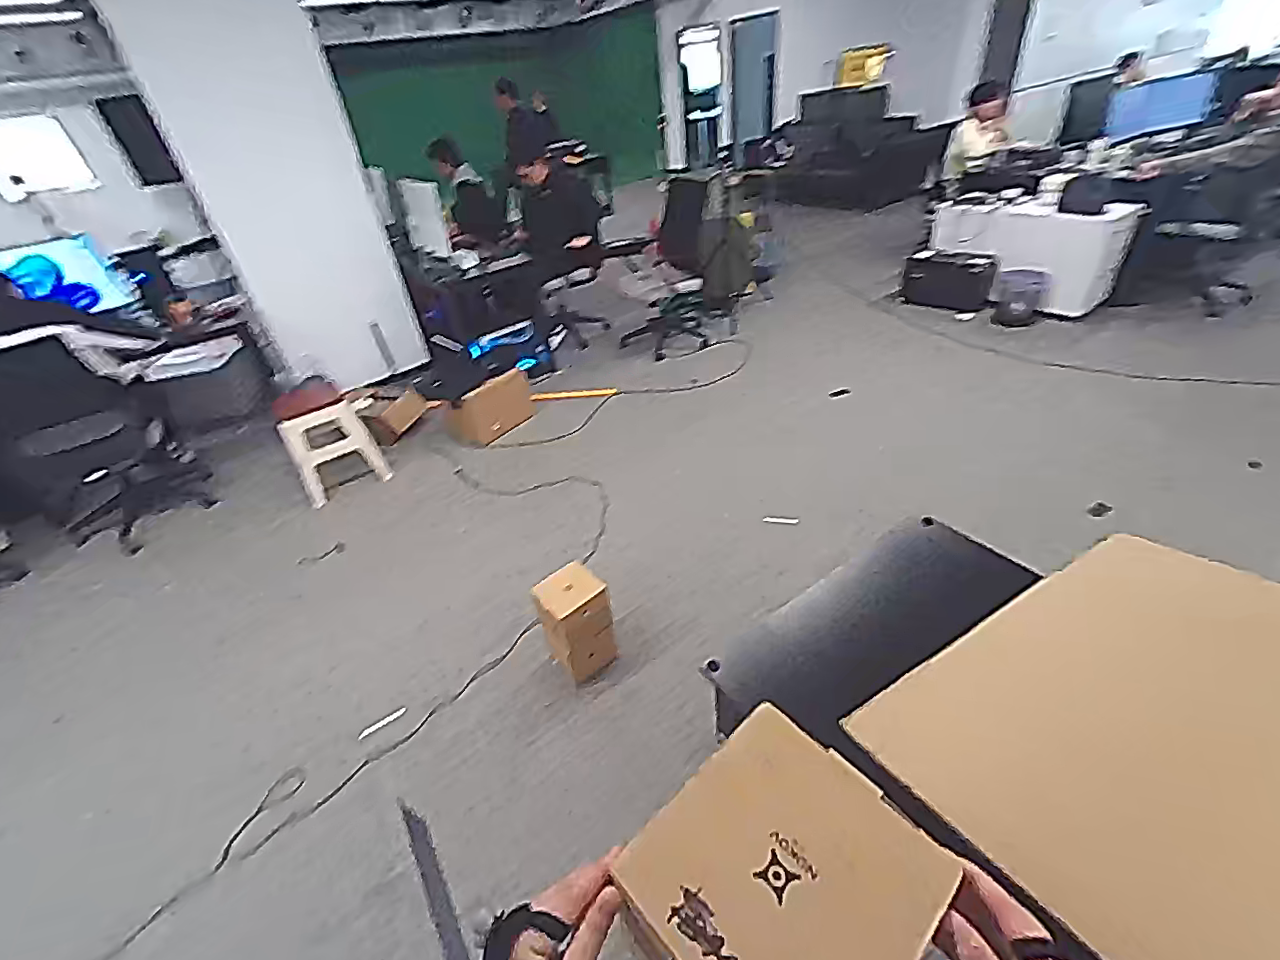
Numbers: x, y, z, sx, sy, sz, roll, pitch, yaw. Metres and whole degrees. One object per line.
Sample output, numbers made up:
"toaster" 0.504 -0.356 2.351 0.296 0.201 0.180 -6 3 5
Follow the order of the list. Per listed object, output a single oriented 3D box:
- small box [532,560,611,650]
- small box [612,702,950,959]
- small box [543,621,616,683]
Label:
"small box" -0.206 0.392 1.686 0.179 0.176 0.168 -31 43 -30
"small box" 0.096 0.321 0.413 0.179 0.176 0.168 -31 45 -33
"small box" -0.193 0.525 1.779 0.179 0.176 0.168 -30 42 -26
